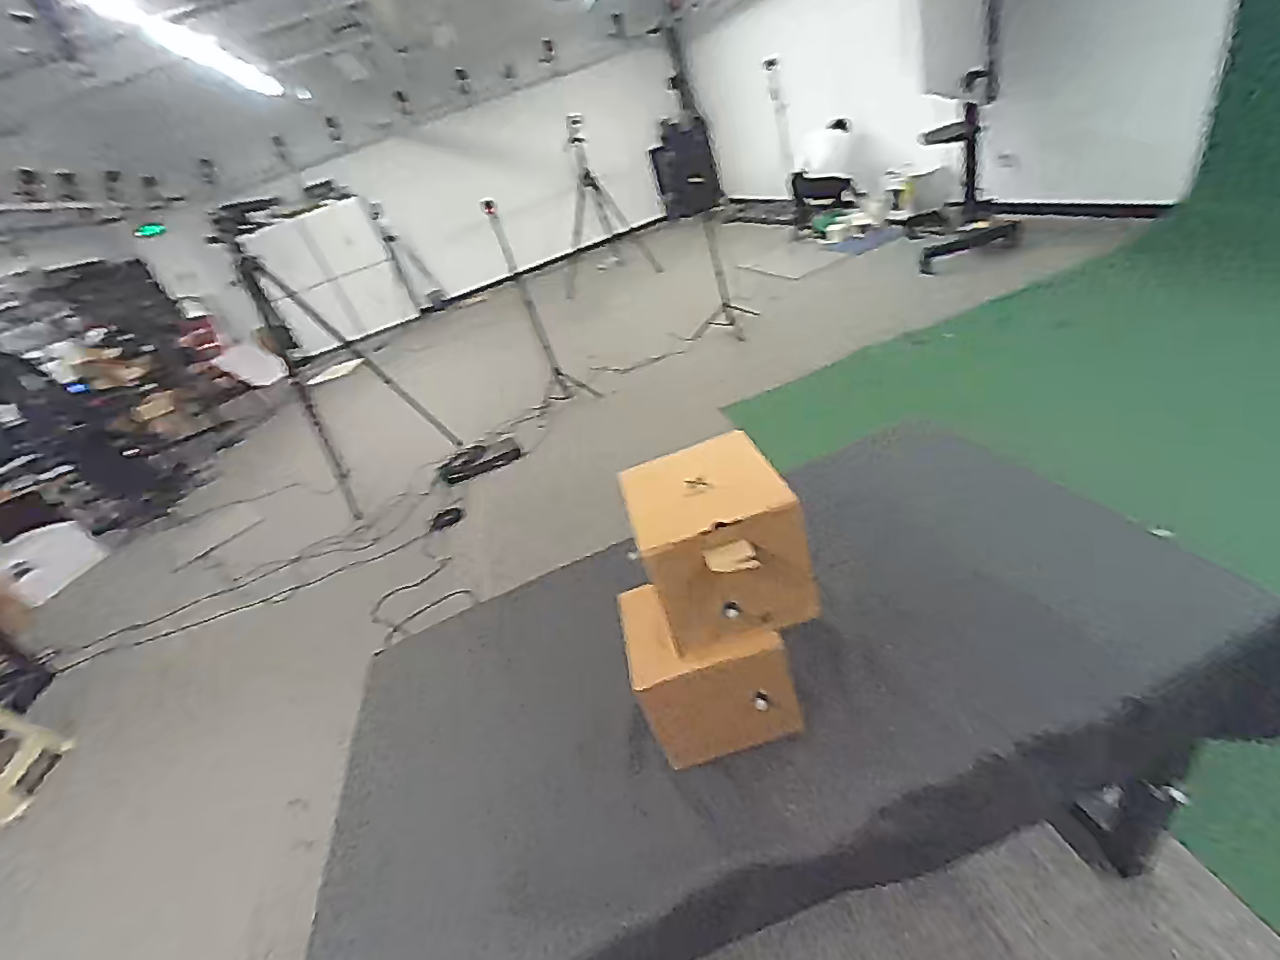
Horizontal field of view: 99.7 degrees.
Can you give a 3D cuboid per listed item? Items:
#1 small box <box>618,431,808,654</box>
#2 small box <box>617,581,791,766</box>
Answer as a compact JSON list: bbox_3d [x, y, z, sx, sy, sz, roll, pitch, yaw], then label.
[{"bbox_3d":[0.083,0.070,0.644,0.168,0.176,0.179,-19,31,0],"label":"small box"},{"bbox_3d":[0.084,0.232,0.704,0.179,0.176,0.168,-20,30,2],"label":"small box"}]
